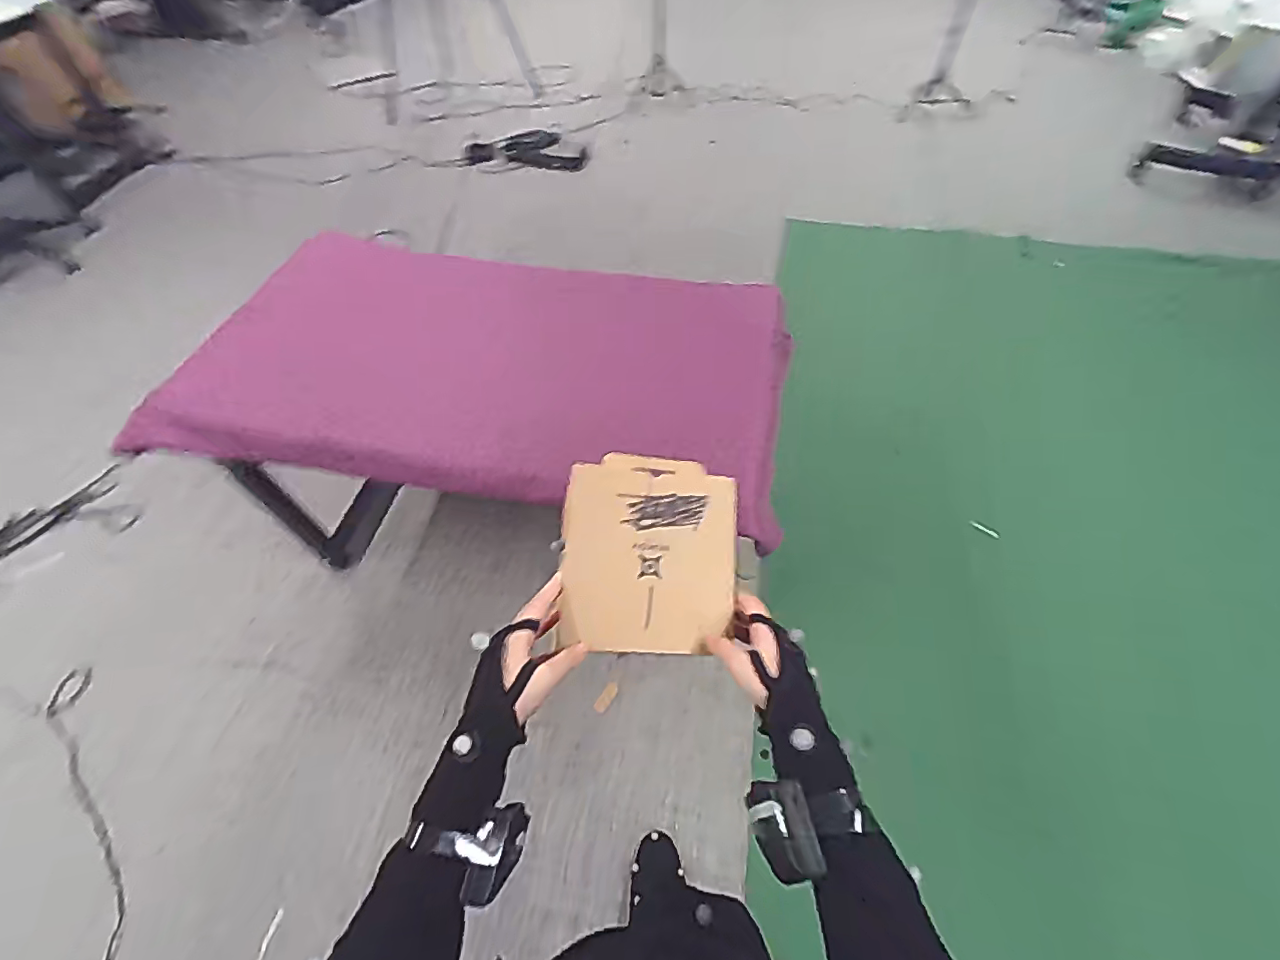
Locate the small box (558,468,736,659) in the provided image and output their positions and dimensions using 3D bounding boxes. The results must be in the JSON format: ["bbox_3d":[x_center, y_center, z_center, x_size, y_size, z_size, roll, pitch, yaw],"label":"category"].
[{"bbox_3d":[0.000,0.102,0.597,0.168,0.176,0.179,5,71,-9],"label":"small box"}]
